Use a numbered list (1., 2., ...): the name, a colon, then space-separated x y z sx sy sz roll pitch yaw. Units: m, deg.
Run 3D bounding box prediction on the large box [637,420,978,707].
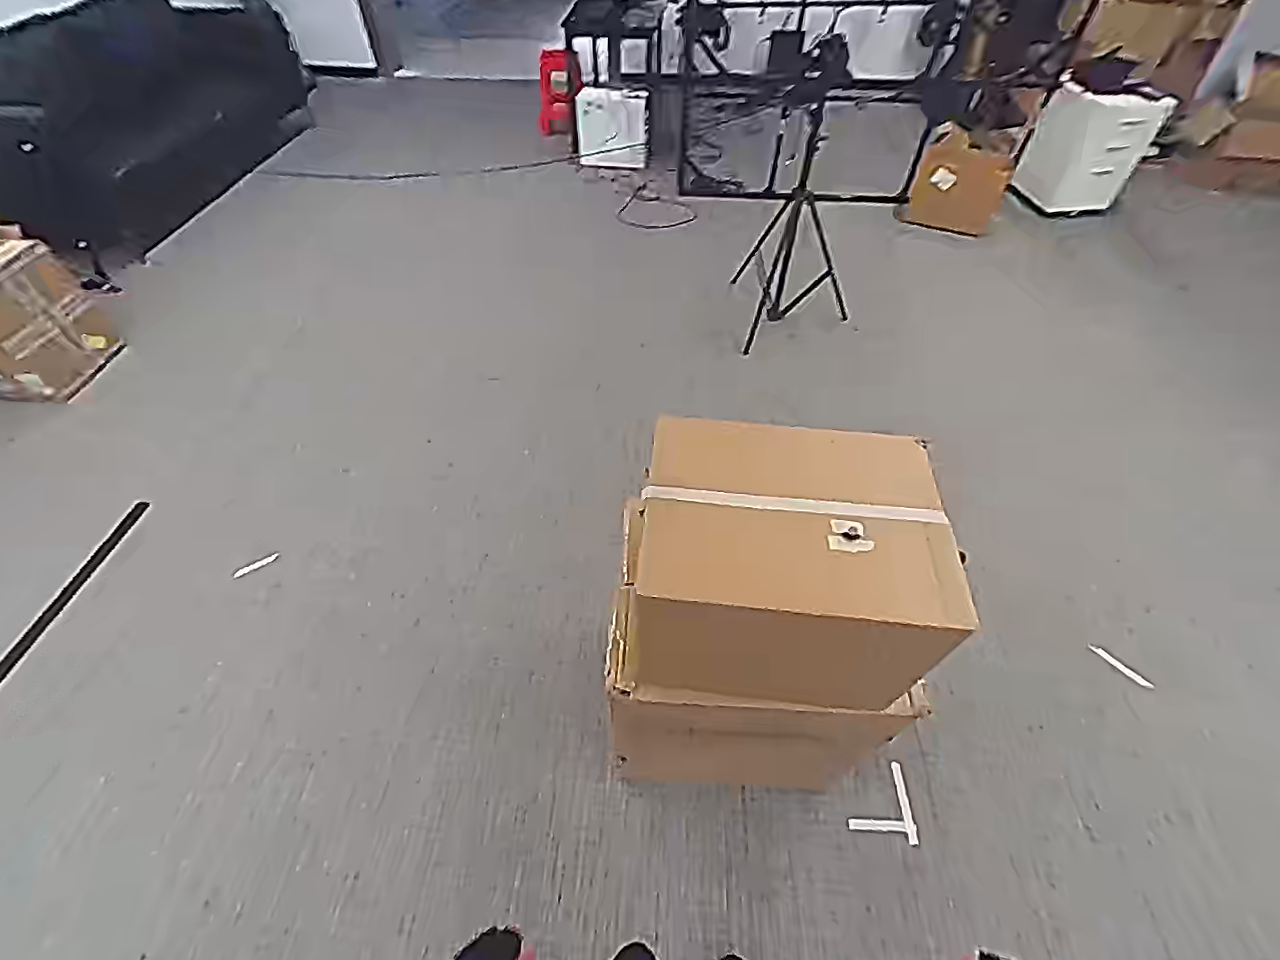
1. large box: 0.206 0.134 0.842 0.408 0.320 0.320 5 51 3
